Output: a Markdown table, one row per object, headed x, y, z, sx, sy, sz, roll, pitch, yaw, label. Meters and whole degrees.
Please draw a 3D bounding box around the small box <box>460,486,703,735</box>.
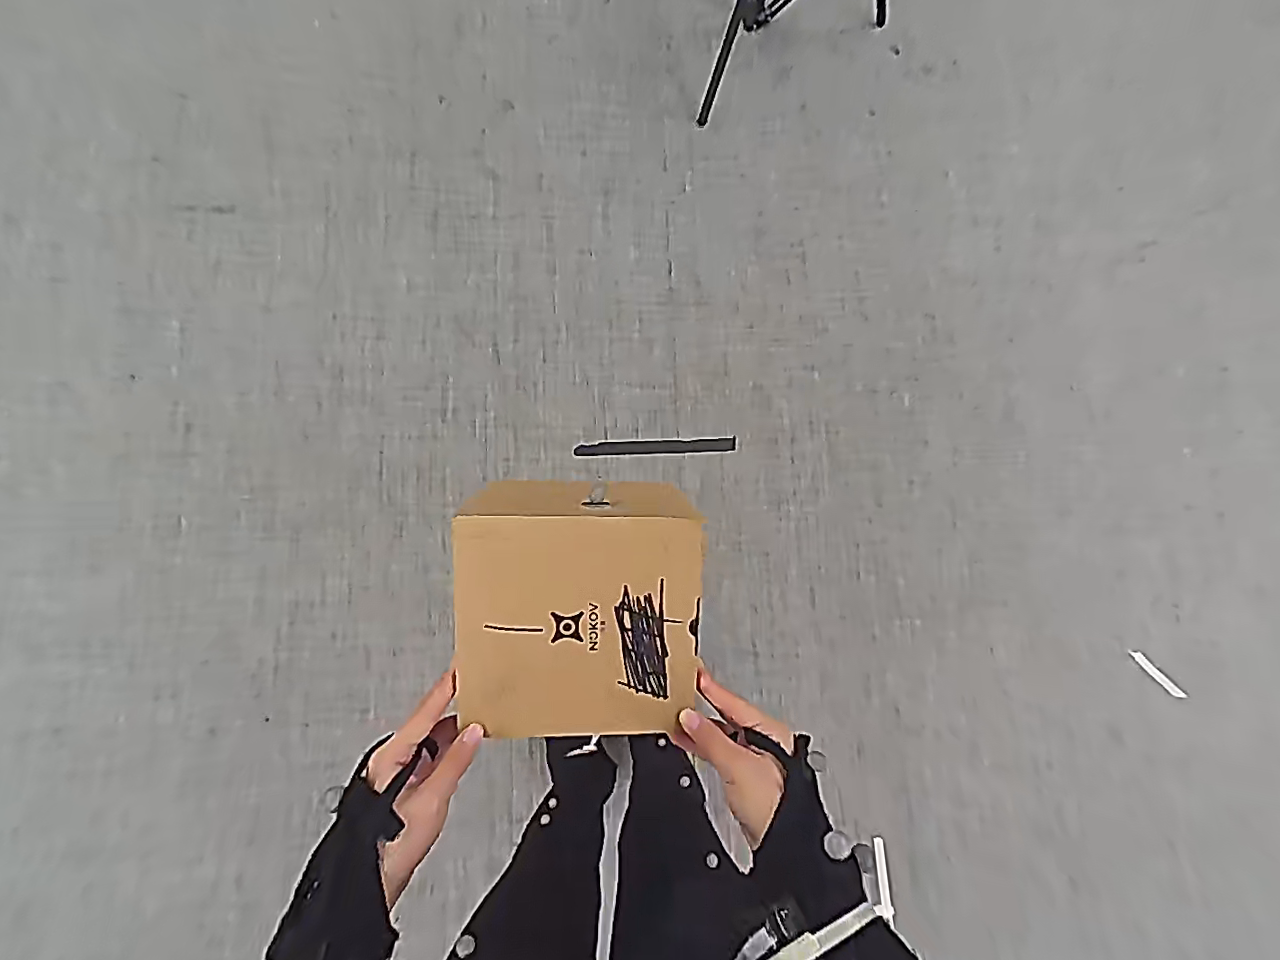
| x | y | z | sx | sy | sz | roll | pitch | yaw | label |
| --- | --- | --- | --- | --- | --- | --- | --- | --- | --- |
| -0.049 | 0.098 | 0.475 | 0.179 | 0.176 | 0.168 | 1 | 98 | -5 | small box |
